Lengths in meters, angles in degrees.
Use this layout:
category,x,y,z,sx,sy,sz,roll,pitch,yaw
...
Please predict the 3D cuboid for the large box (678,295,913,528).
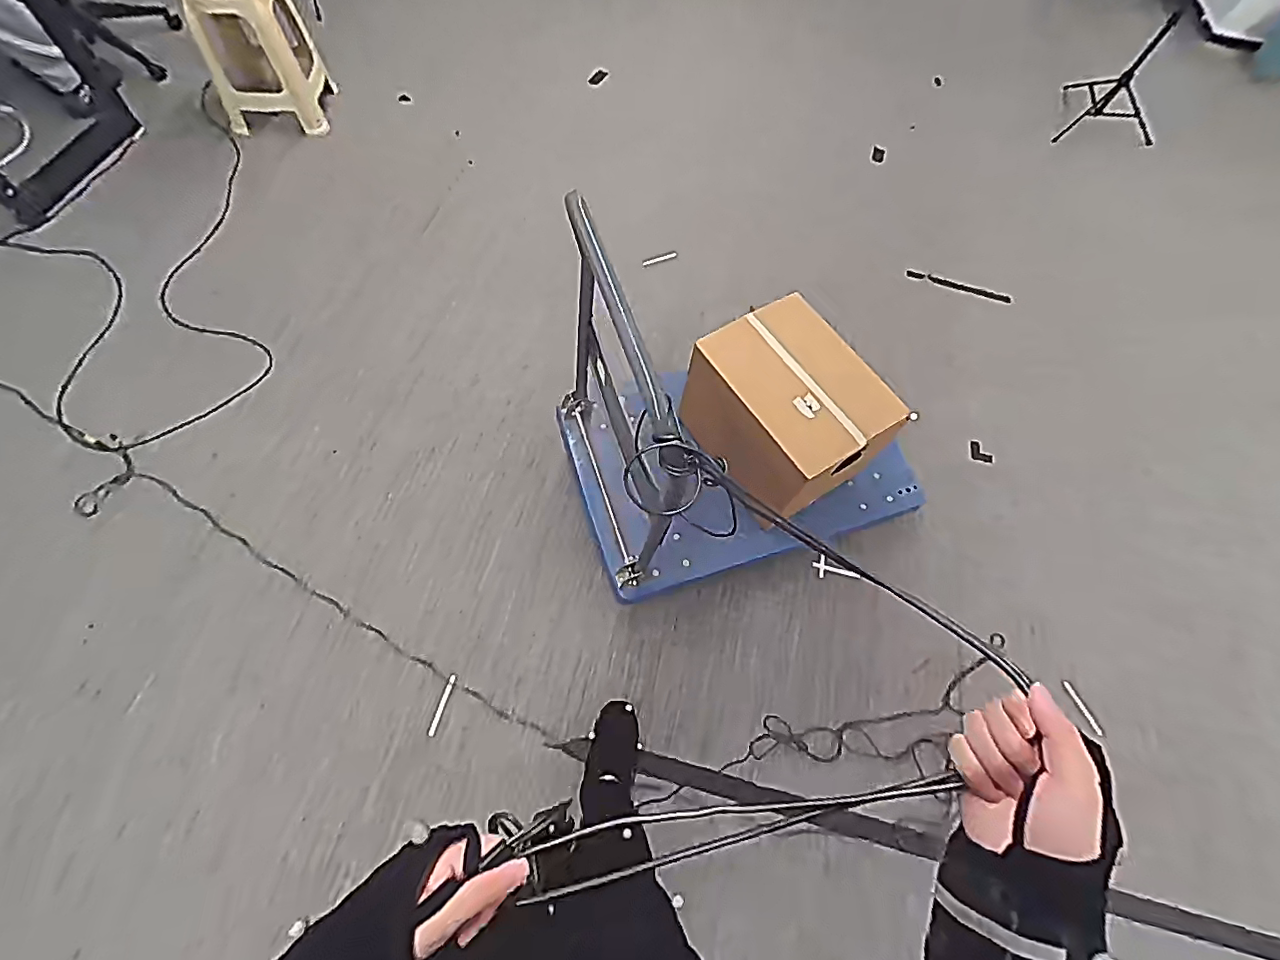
category,x,y,z,sx,sy,sz,roll,pitch,yaw
large box,0.346,-0.160,1.321,0.320,0.320,0.408,-30,72,-16
